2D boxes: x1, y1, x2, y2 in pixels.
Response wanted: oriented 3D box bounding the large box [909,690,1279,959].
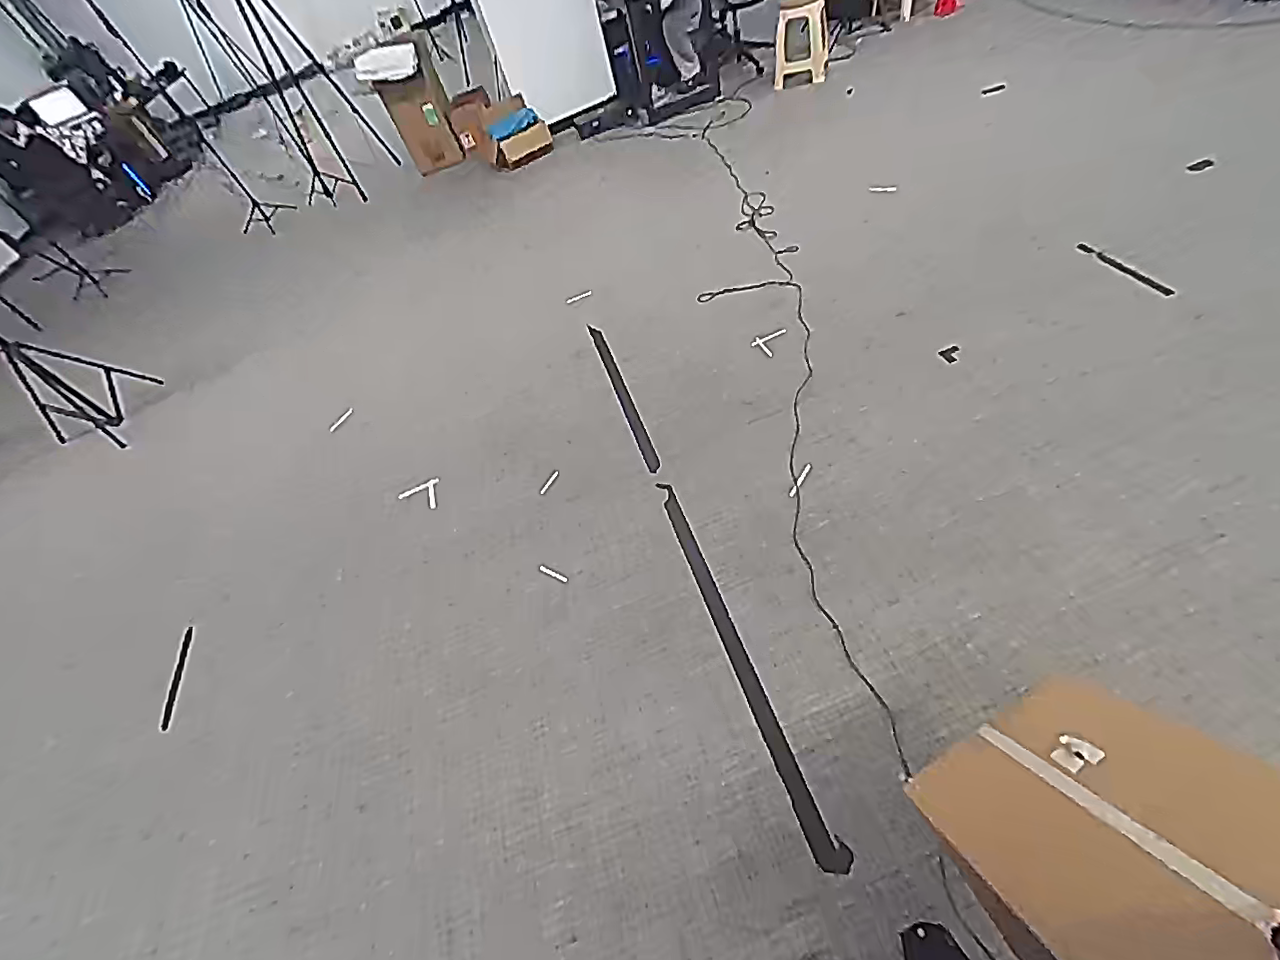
[{"bbox_3d":[0.634,0.532,0.649,0.320,0.408,0.320,-33,90,-3],"label":"large box"}]
